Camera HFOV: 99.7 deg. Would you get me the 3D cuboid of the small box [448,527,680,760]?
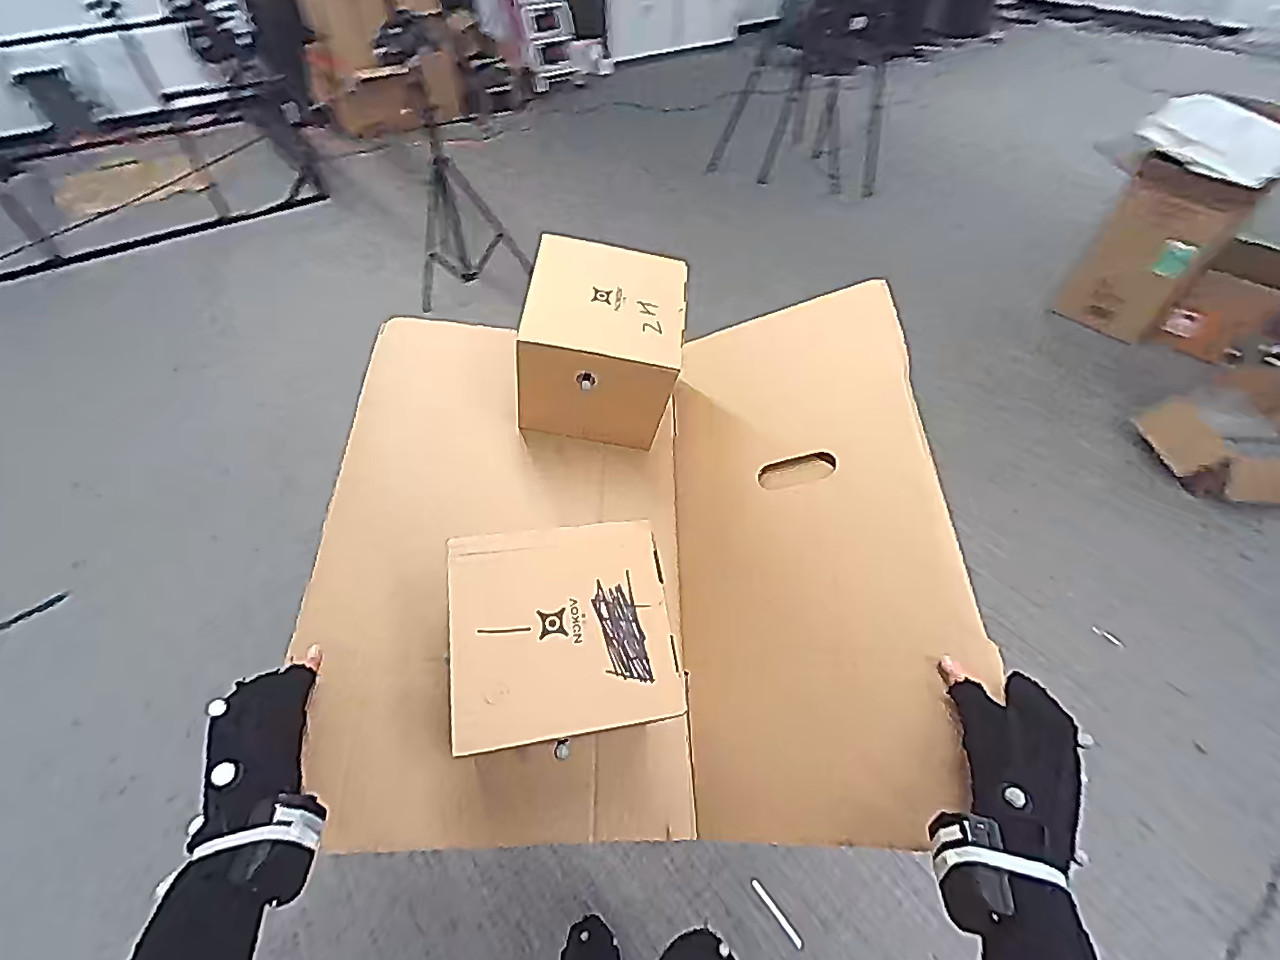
[{"bbox_3d":[-0.079,0.156,0.510,0.179,0.176,0.168,-5,64,-13],"label":"small box"}]
